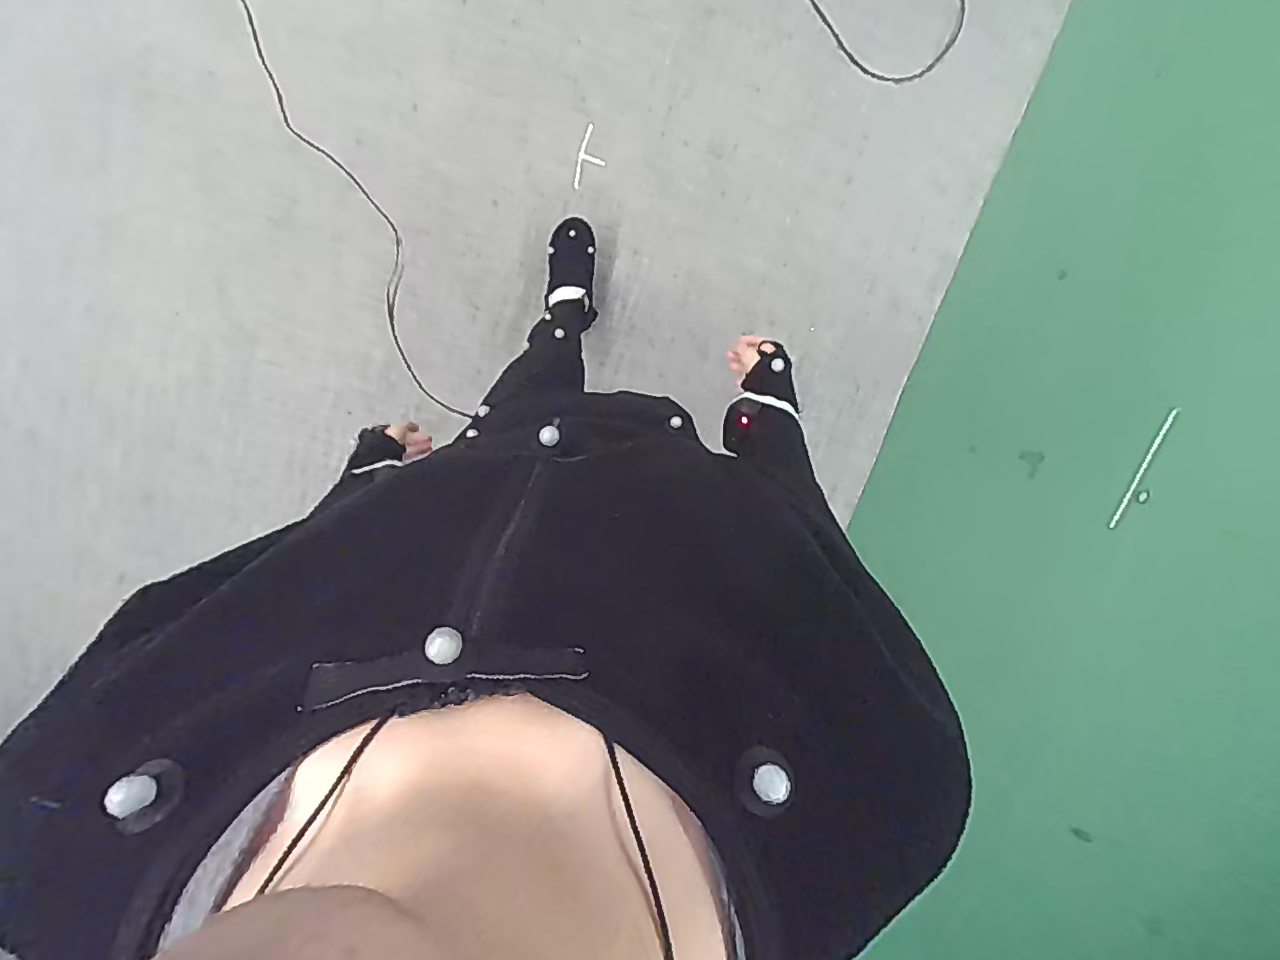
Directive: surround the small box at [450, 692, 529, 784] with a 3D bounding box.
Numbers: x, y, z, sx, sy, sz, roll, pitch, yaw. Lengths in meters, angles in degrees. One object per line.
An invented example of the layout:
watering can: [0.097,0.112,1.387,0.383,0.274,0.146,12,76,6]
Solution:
small box: [-0.437,0.753,1.594,0.179,0.176,0.168,13,103,-7]
